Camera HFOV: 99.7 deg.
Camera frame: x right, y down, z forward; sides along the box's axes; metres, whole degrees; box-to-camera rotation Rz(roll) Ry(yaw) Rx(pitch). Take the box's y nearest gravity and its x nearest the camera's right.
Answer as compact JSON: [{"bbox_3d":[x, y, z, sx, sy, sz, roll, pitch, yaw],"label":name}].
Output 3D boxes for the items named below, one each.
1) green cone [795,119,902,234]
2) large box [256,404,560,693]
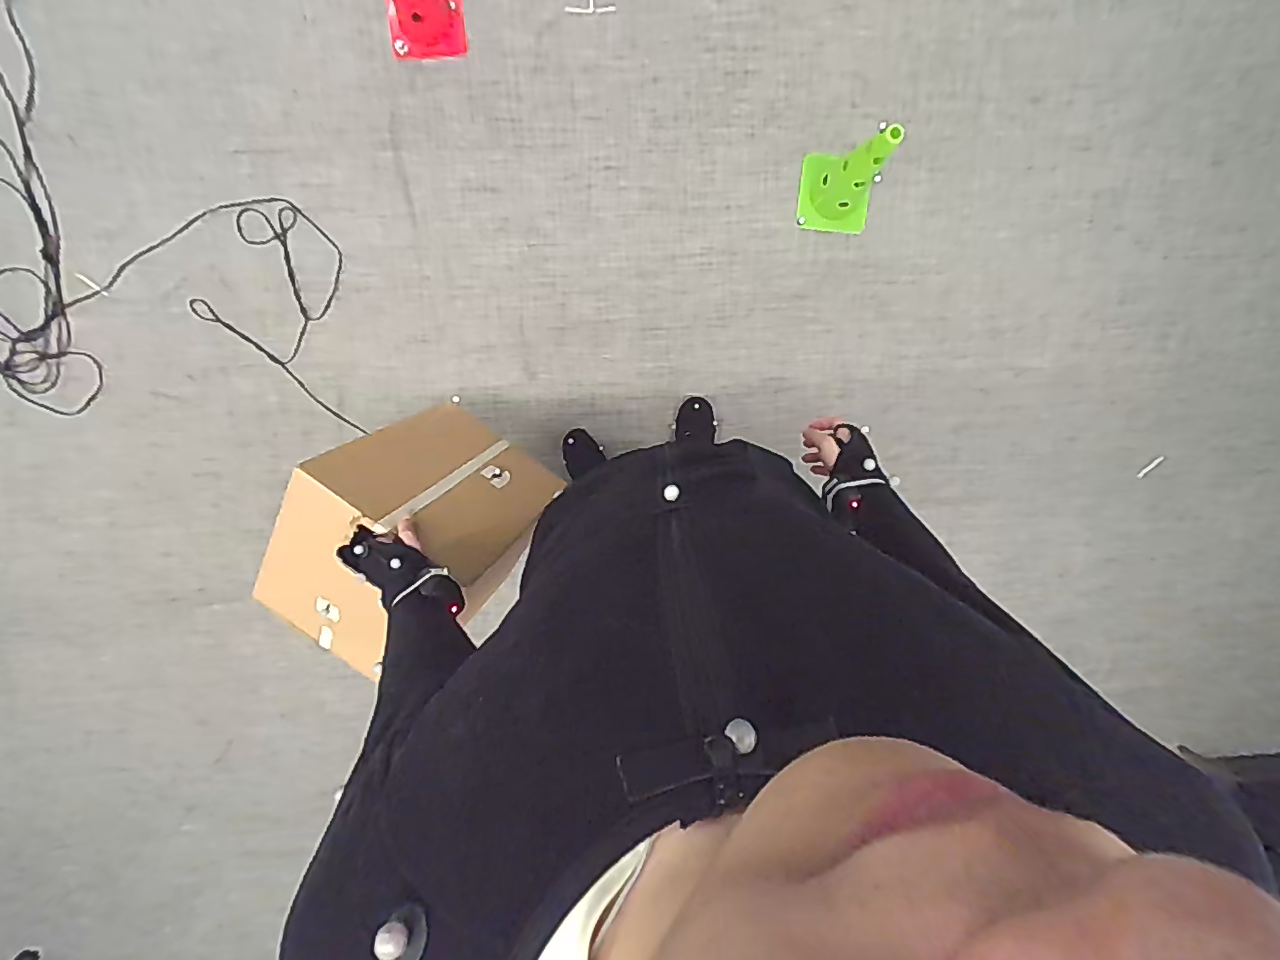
[{"bbox_3d":[0.552,-0.789,1.364,0.200,0.368,0.202,4,97,-3],"label":"green cone"},{"bbox_3d":[-0.415,0.107,1.035,0.320,0.408,0.320,36,116,-2],"label":"large box"}]
